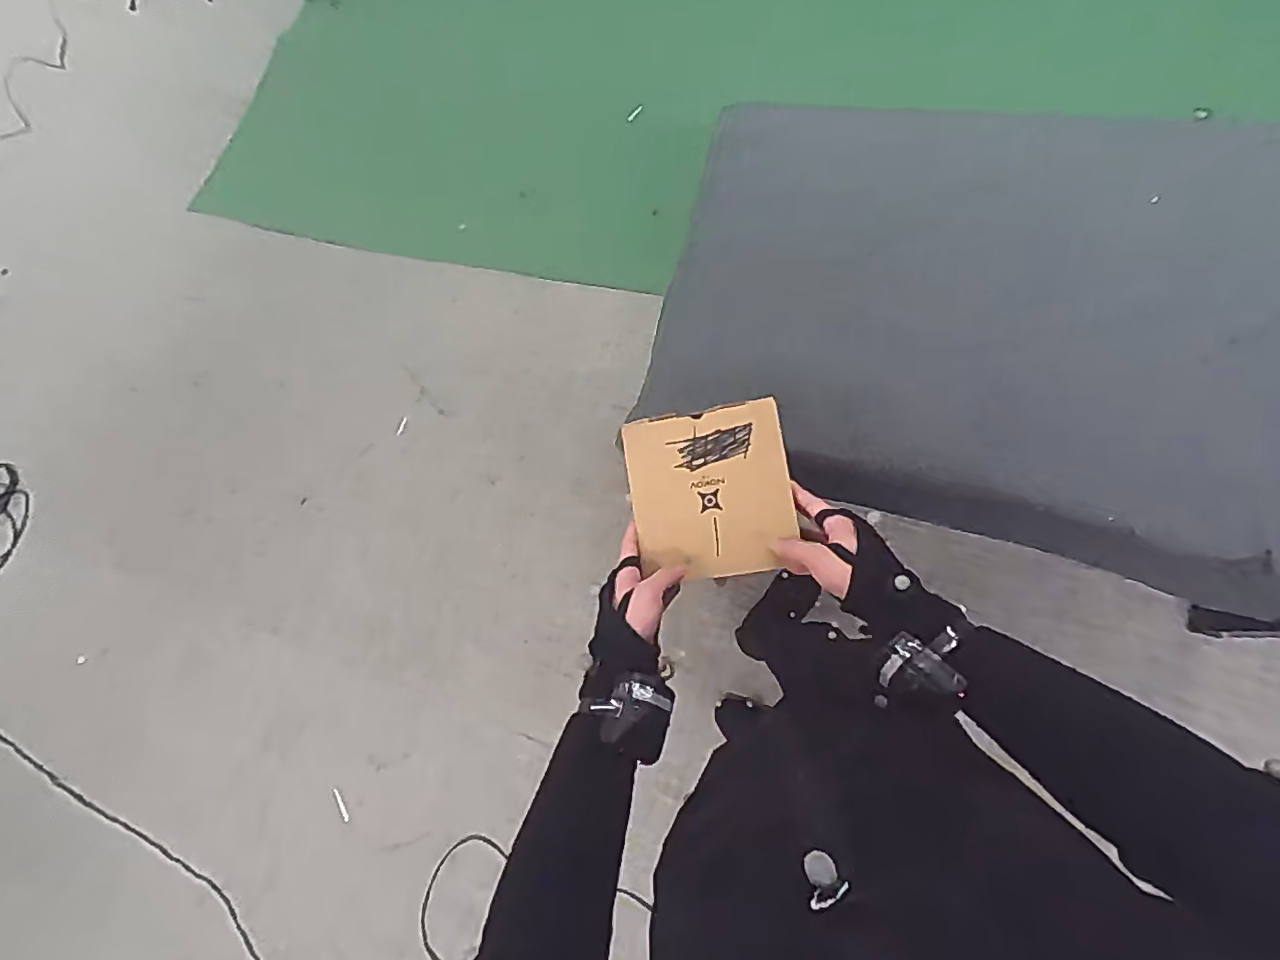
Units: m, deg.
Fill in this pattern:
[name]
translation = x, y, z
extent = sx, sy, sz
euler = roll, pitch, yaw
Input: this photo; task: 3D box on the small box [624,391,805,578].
[small box]
translation = 0.082, 0.015, 0.622
extent = 0.168, 0.176, 0.179
euler = -8, 81, 8
